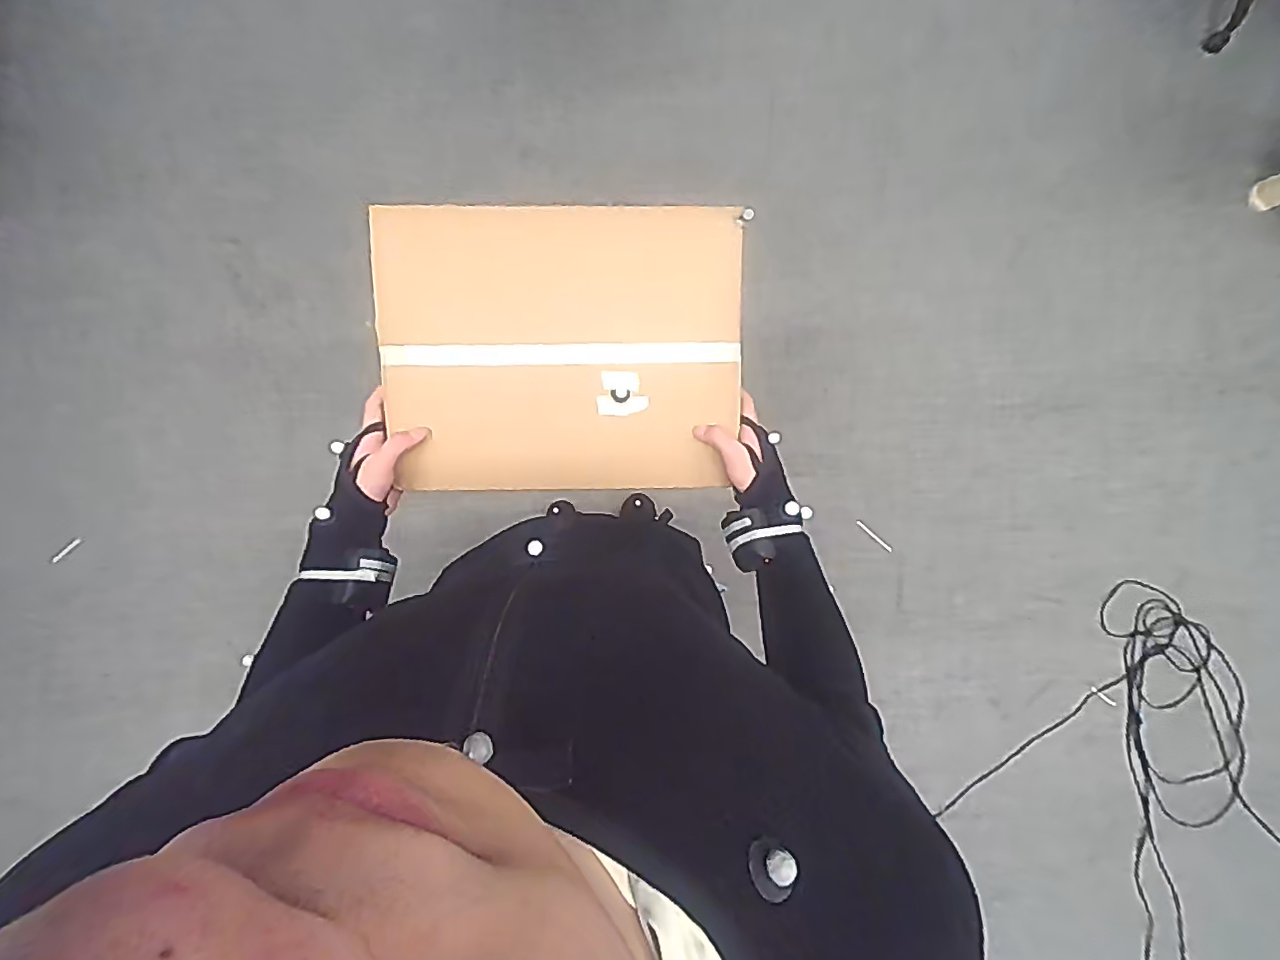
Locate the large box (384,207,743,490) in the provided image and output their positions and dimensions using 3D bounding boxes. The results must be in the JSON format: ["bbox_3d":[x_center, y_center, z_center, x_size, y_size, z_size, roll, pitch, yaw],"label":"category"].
[{"bbox_3d":[-0.087,-0.172,0.767,0.408,0.320,0.320,-2,101,-2],"label":"large box"}]
